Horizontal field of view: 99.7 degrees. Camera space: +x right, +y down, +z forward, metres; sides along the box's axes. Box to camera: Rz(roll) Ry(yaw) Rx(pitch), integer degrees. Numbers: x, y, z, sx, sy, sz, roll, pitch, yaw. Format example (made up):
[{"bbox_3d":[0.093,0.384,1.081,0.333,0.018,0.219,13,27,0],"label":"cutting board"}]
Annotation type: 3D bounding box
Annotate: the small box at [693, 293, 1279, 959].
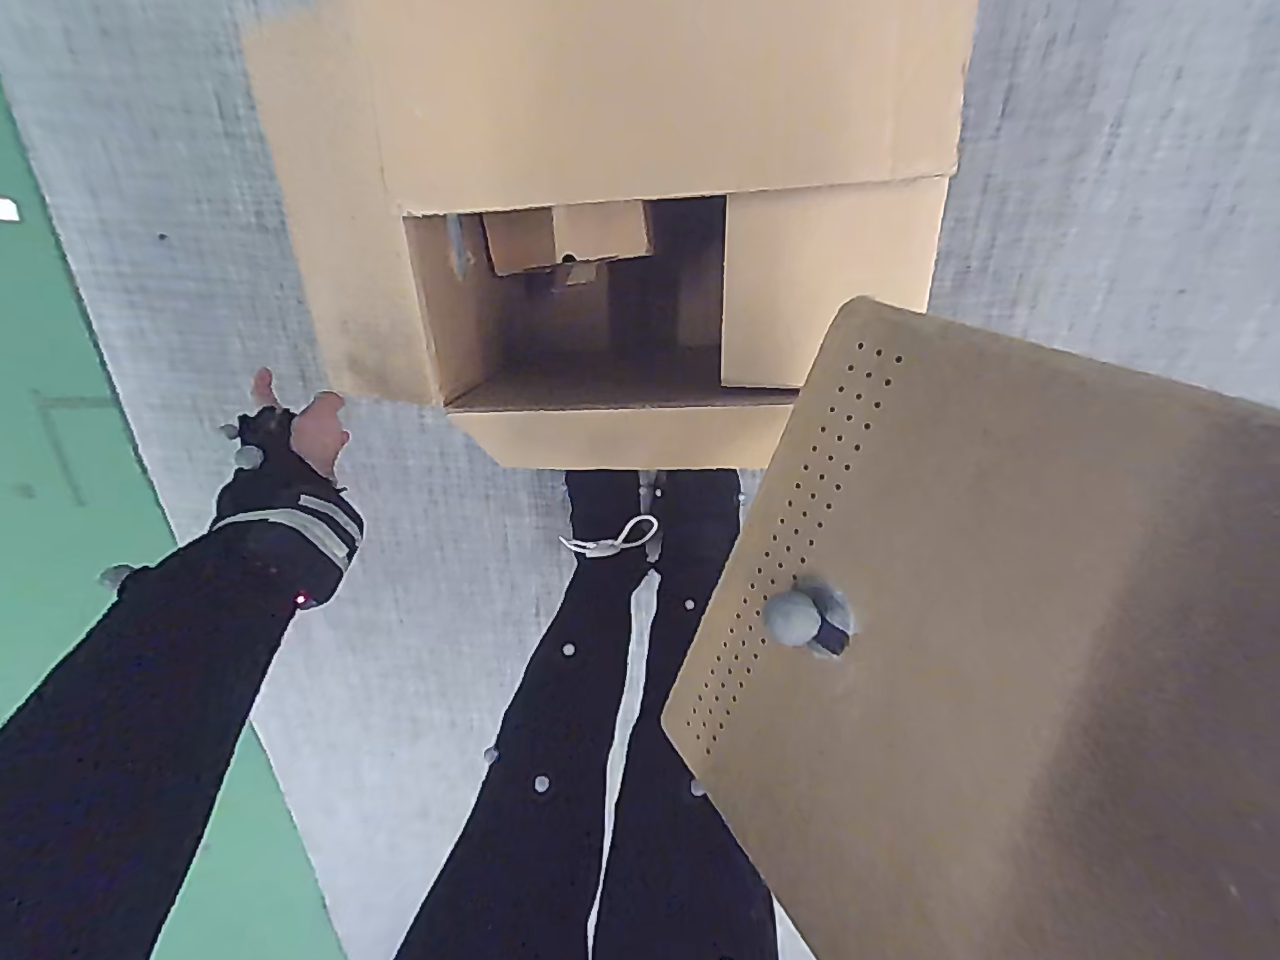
[{"bbox_3d":[0.142,0.058,0.181,0.168,0.176,0.179,3,117,-35],"label":"small box"}]
